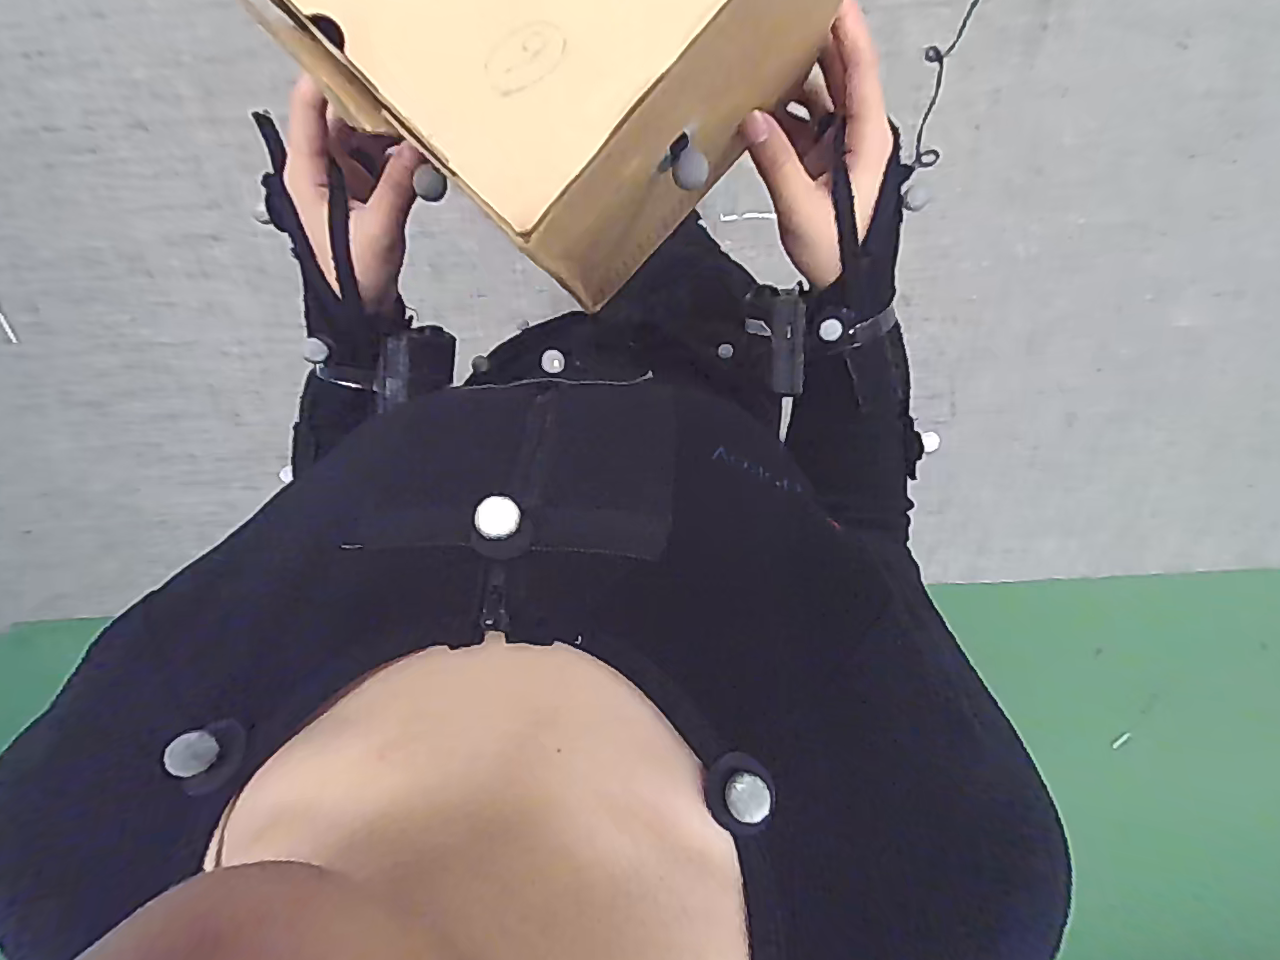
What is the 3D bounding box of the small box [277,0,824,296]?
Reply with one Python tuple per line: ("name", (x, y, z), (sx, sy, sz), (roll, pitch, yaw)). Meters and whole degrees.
("small box", (-0.028, -0.209, 0.242), (0.168, 0.176, 0.179), (44, 99, -5))
